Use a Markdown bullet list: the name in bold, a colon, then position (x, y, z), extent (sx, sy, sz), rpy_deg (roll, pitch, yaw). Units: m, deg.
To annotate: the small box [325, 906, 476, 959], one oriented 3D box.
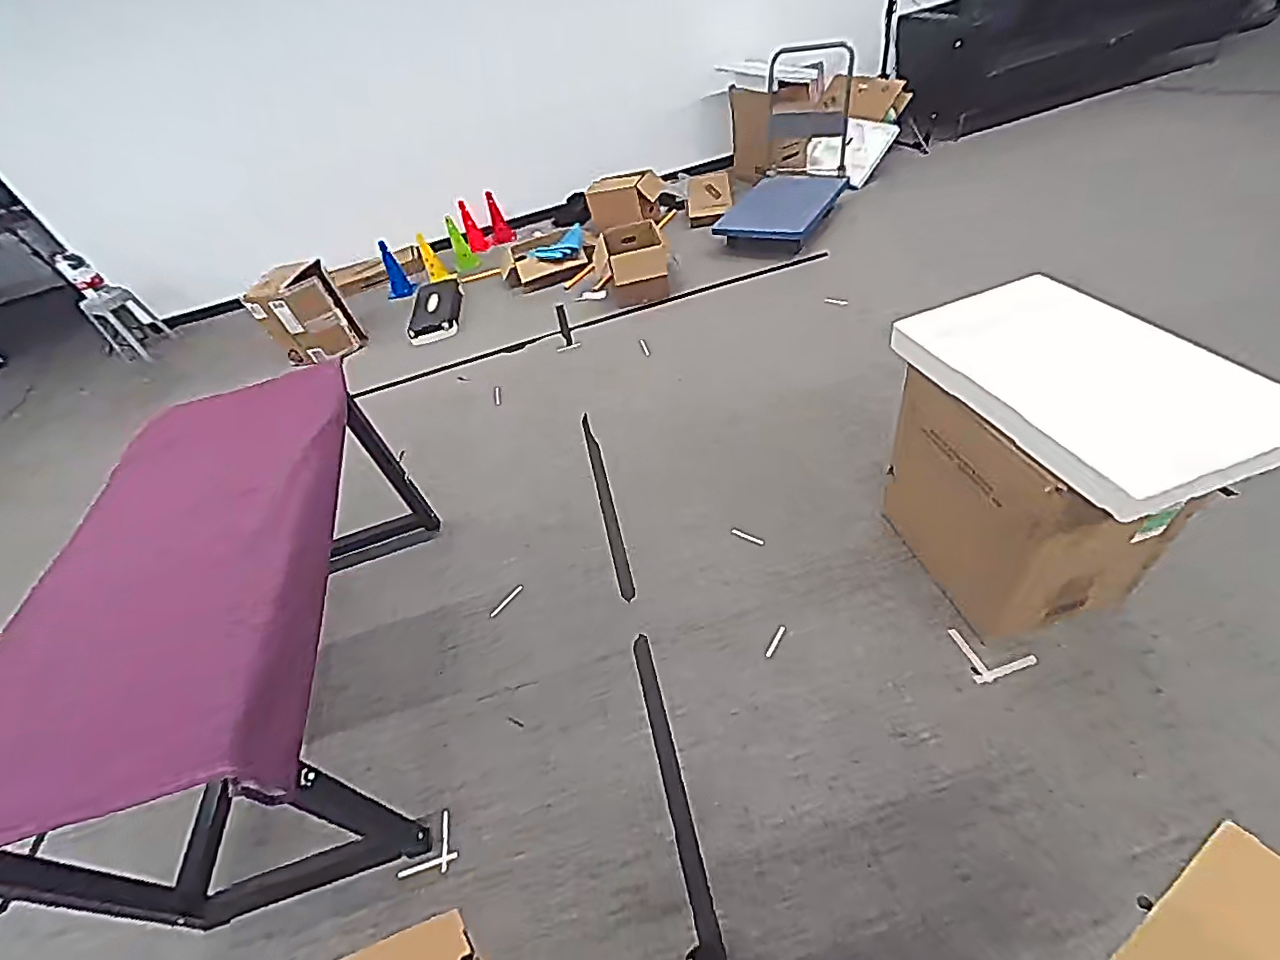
- **small box**: position (-0.263, 0.613, 0.558), extent (0.179, 0.176, 0.168), rpy_deg (7, 11, -42)
